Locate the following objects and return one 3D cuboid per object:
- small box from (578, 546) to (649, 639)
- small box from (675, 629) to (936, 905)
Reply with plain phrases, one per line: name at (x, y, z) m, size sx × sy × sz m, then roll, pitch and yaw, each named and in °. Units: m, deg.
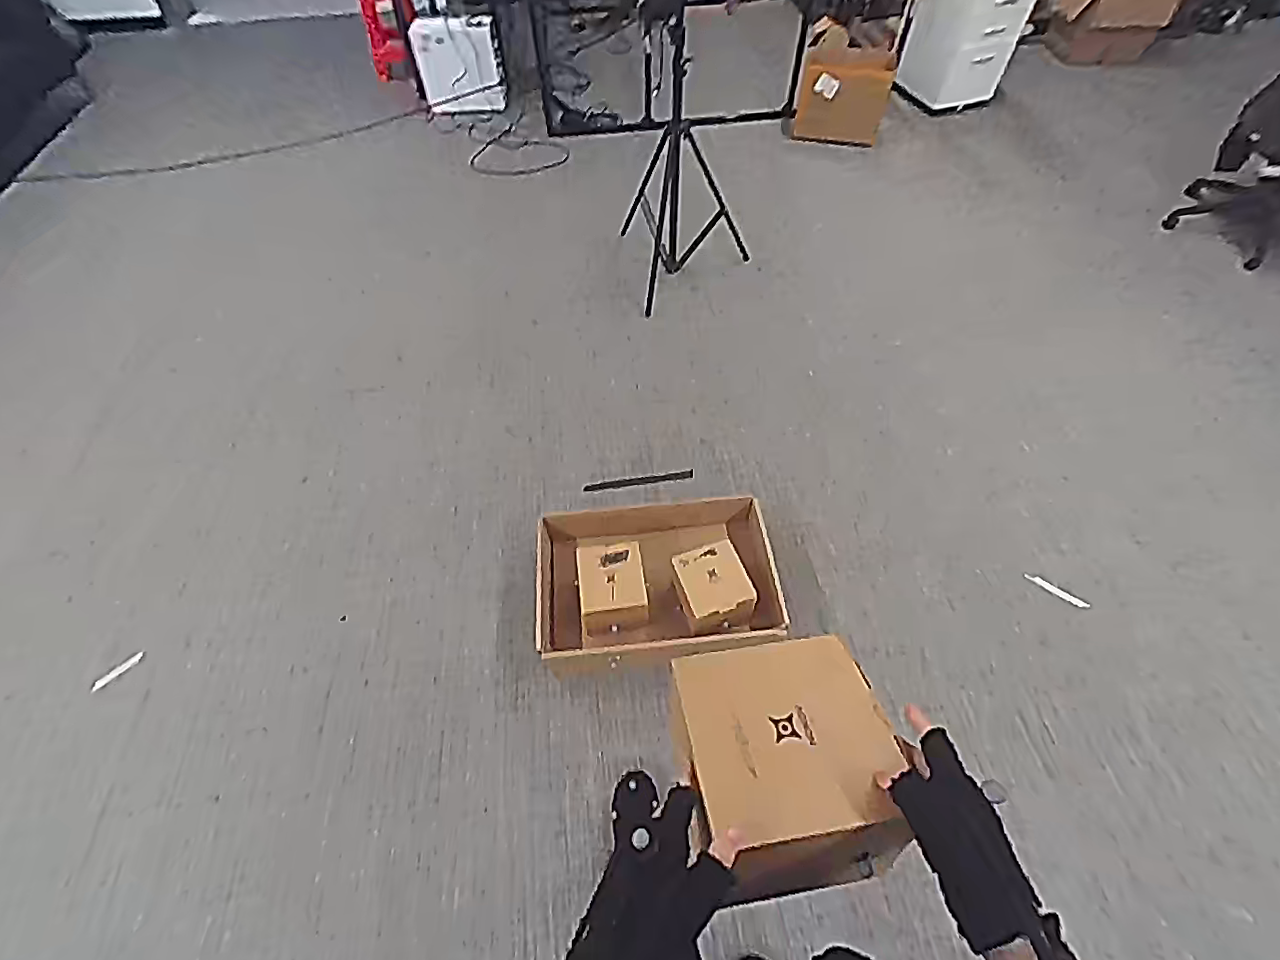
small box at (-0.071, 0.298, 1.423) m, size 0.168 × 0.176 × 0.179 m, roll -7°, pitch 56°, yaw -4°
small box at (0.133, 0.270, 0.514) m, size 0.179 × 0.176 × 0.168 m, roll -8°, pitch 39°, yaw -6°
